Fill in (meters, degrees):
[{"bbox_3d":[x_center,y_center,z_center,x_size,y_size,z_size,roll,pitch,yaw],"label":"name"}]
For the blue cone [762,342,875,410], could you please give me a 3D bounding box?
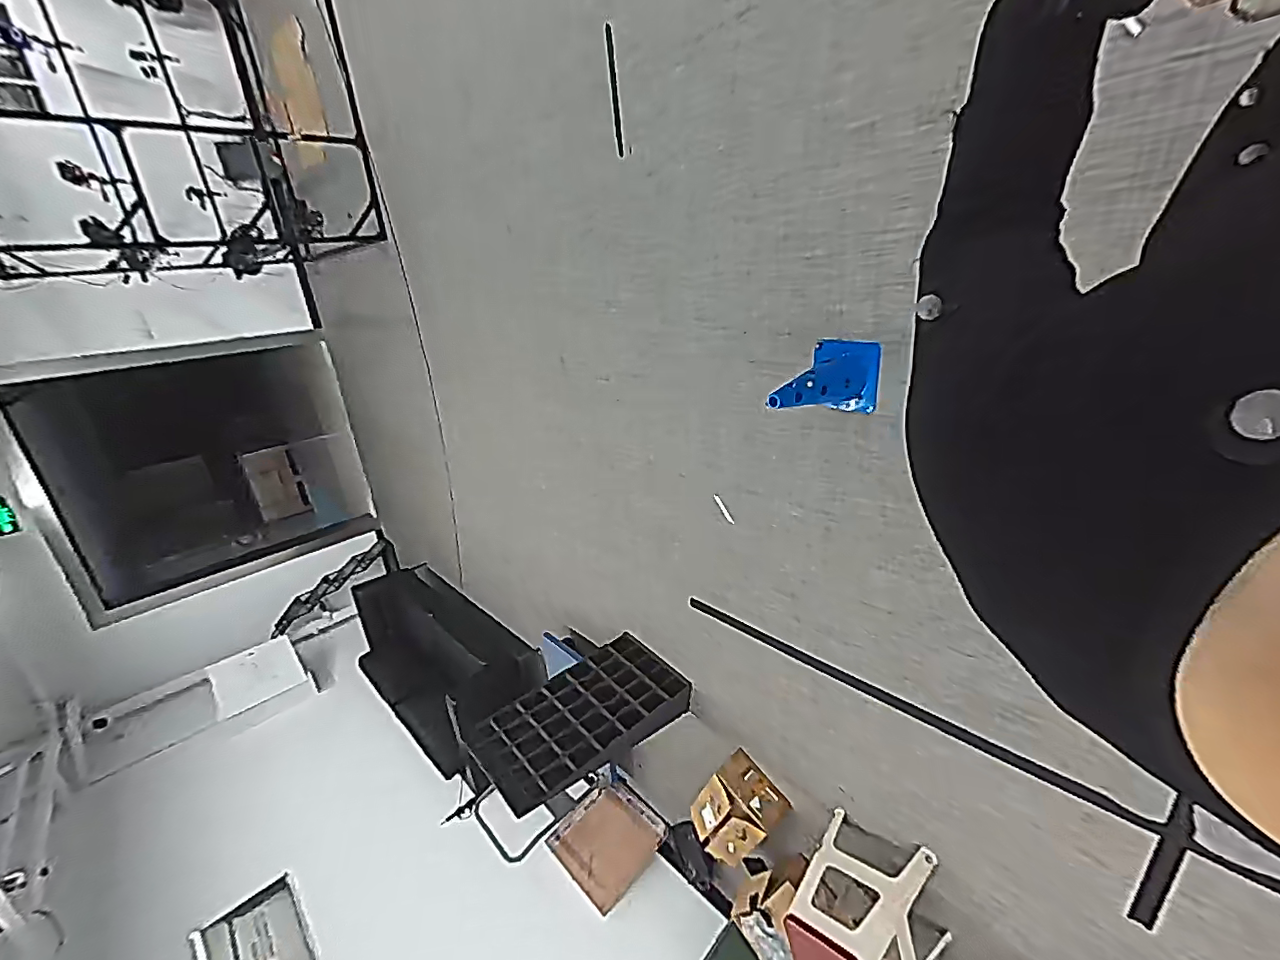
[{"bbox_3d":[0.472,-0.257,1.487,0.192,0.380,0.193,22,124,44],"label":"blue cone"}]
